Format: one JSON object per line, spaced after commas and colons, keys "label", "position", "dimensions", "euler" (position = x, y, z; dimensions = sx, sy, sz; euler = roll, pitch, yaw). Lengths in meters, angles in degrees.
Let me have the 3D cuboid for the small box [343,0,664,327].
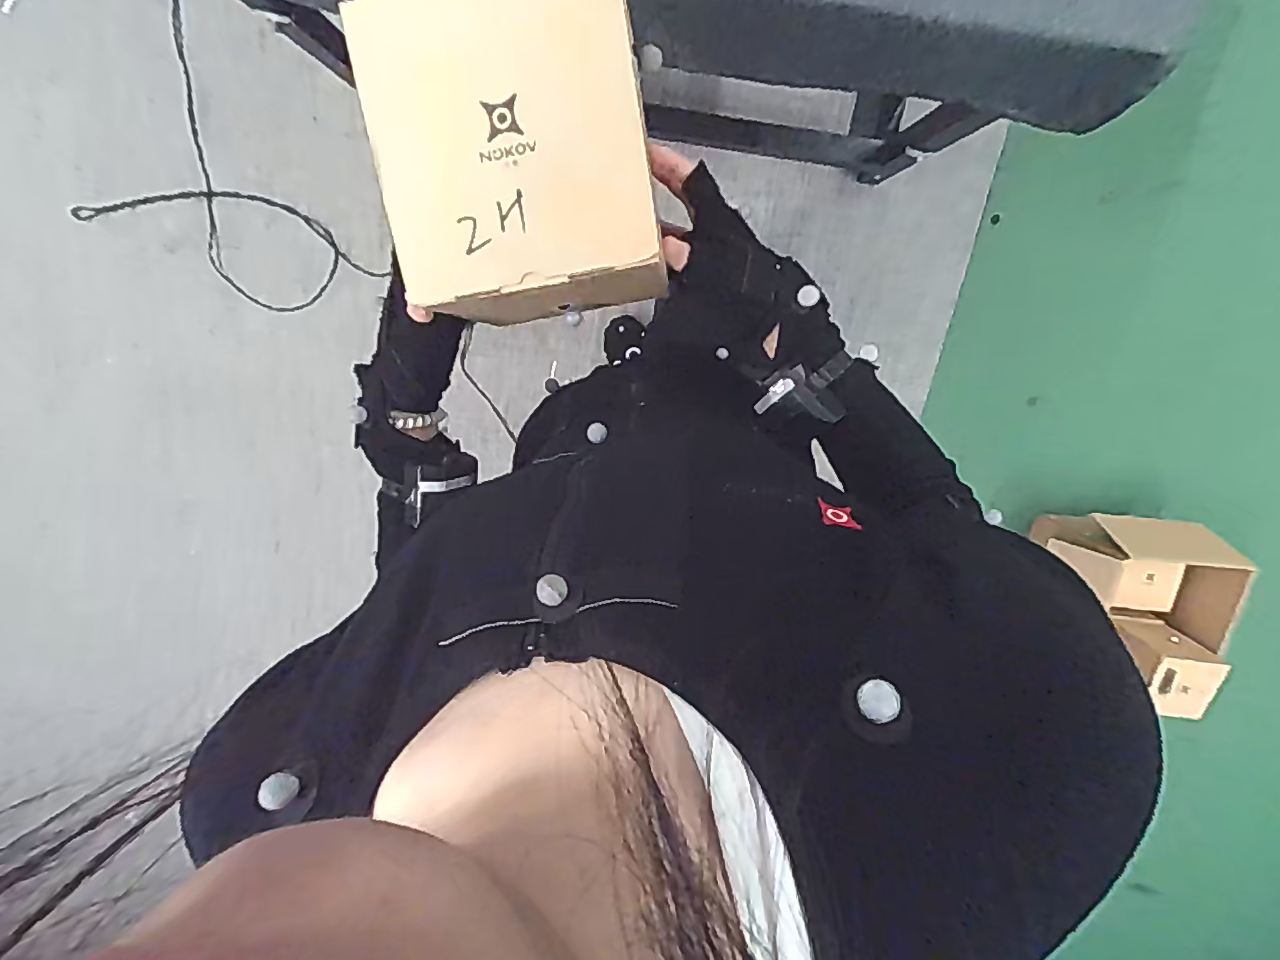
{"label": "small box", "position": [-0.076, -0.219, 0.401], "dimensions": [0.168, 0.176, 0.179], "euler": [-8, 101, 7]}
